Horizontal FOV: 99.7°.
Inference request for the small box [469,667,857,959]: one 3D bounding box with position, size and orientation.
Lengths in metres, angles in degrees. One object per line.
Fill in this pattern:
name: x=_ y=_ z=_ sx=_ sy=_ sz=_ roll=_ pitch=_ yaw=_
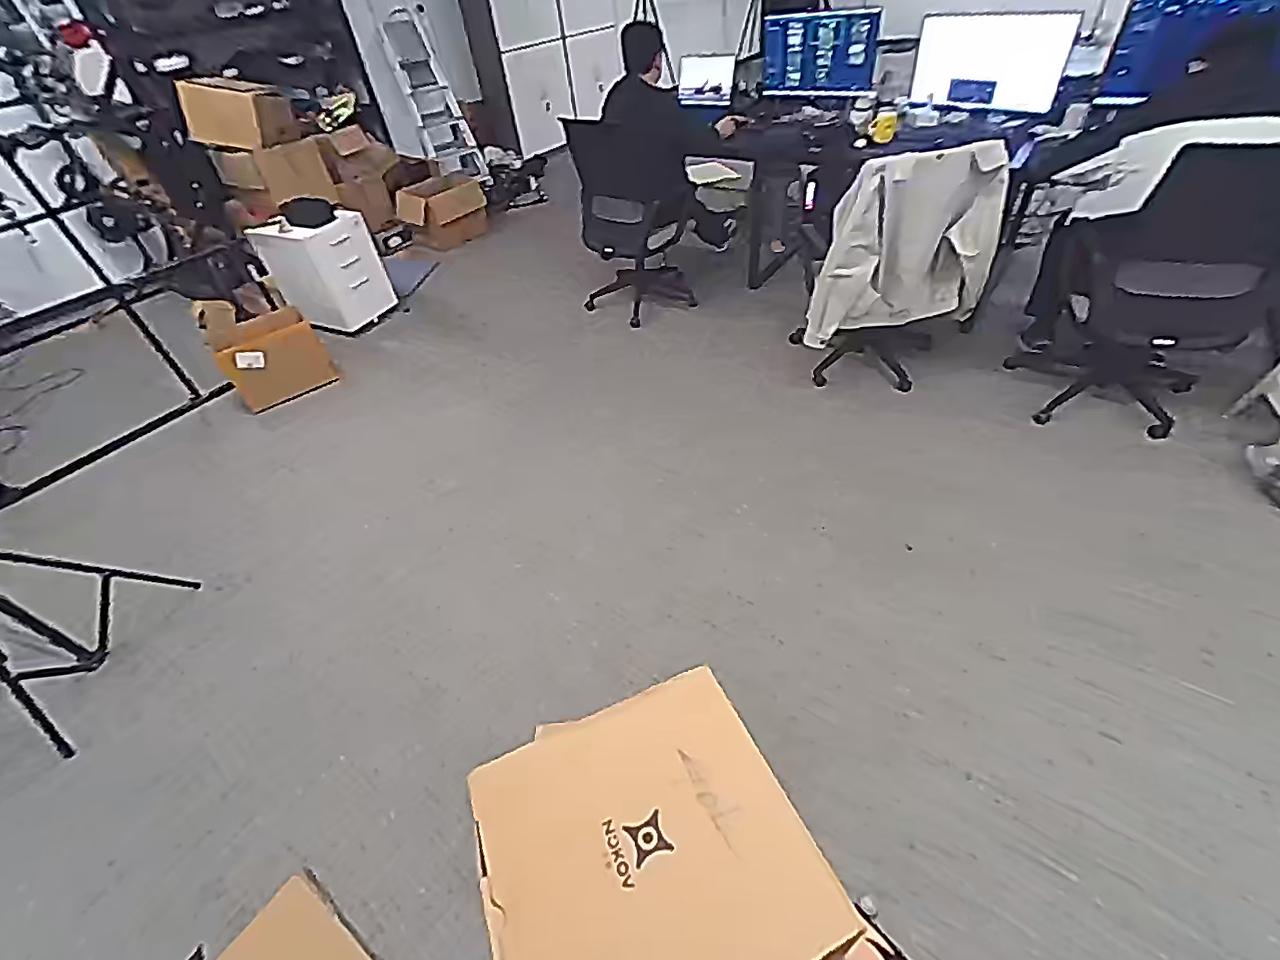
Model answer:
small box: x=0.009 y=0.266 z=0.356 sx=0.179 sy=0.176 sz=0.168 roll=-19 pitch=42 yaw=-16
